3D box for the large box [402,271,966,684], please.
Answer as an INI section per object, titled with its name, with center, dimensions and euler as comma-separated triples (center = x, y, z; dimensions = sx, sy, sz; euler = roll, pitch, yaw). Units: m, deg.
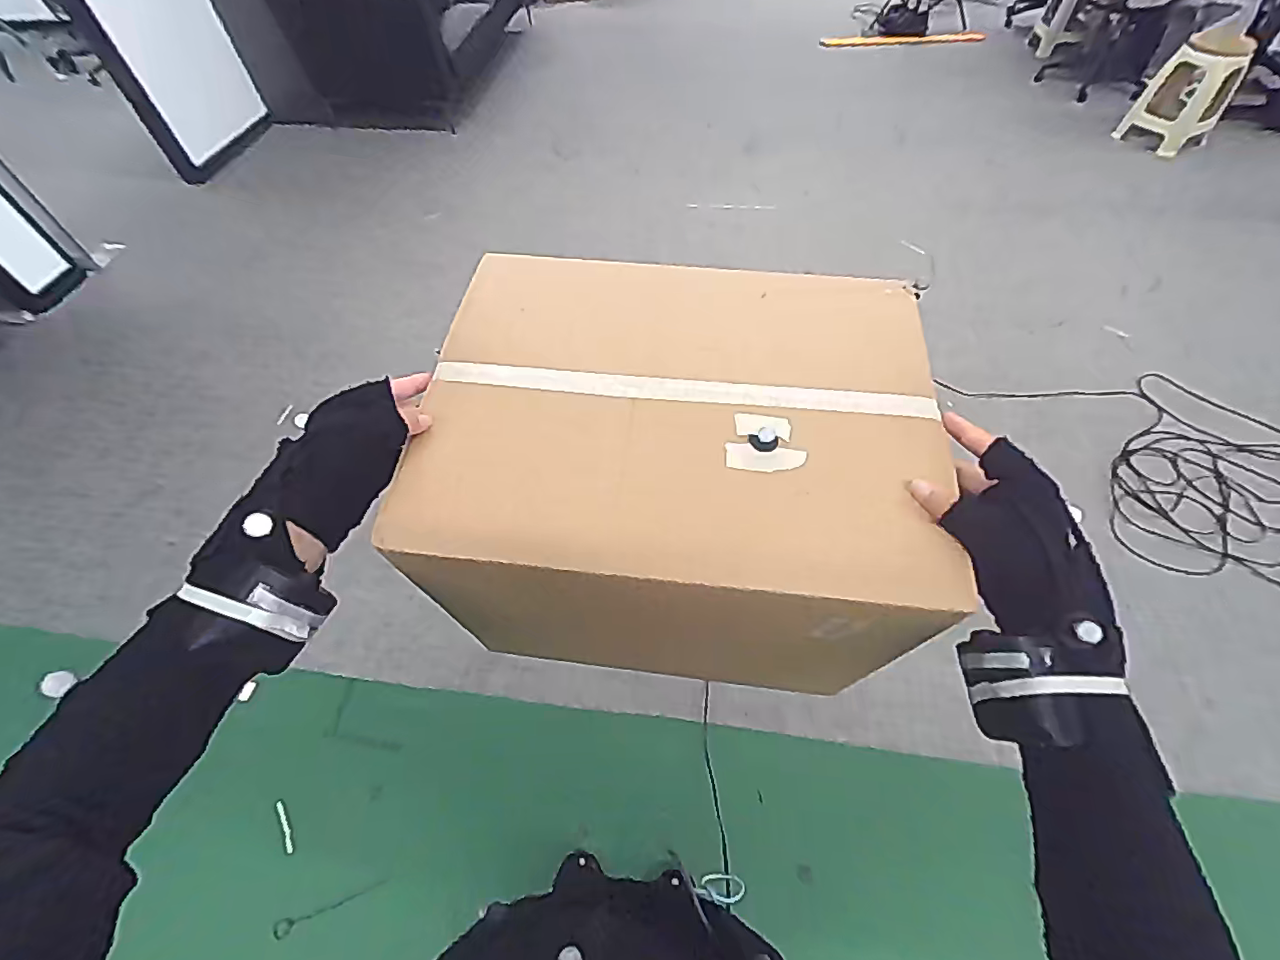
[large box]
center = 0.038, 0.013, 0.578
dimensions = 0.408, 0.320, 0.320
euler = 5, 60, 3
